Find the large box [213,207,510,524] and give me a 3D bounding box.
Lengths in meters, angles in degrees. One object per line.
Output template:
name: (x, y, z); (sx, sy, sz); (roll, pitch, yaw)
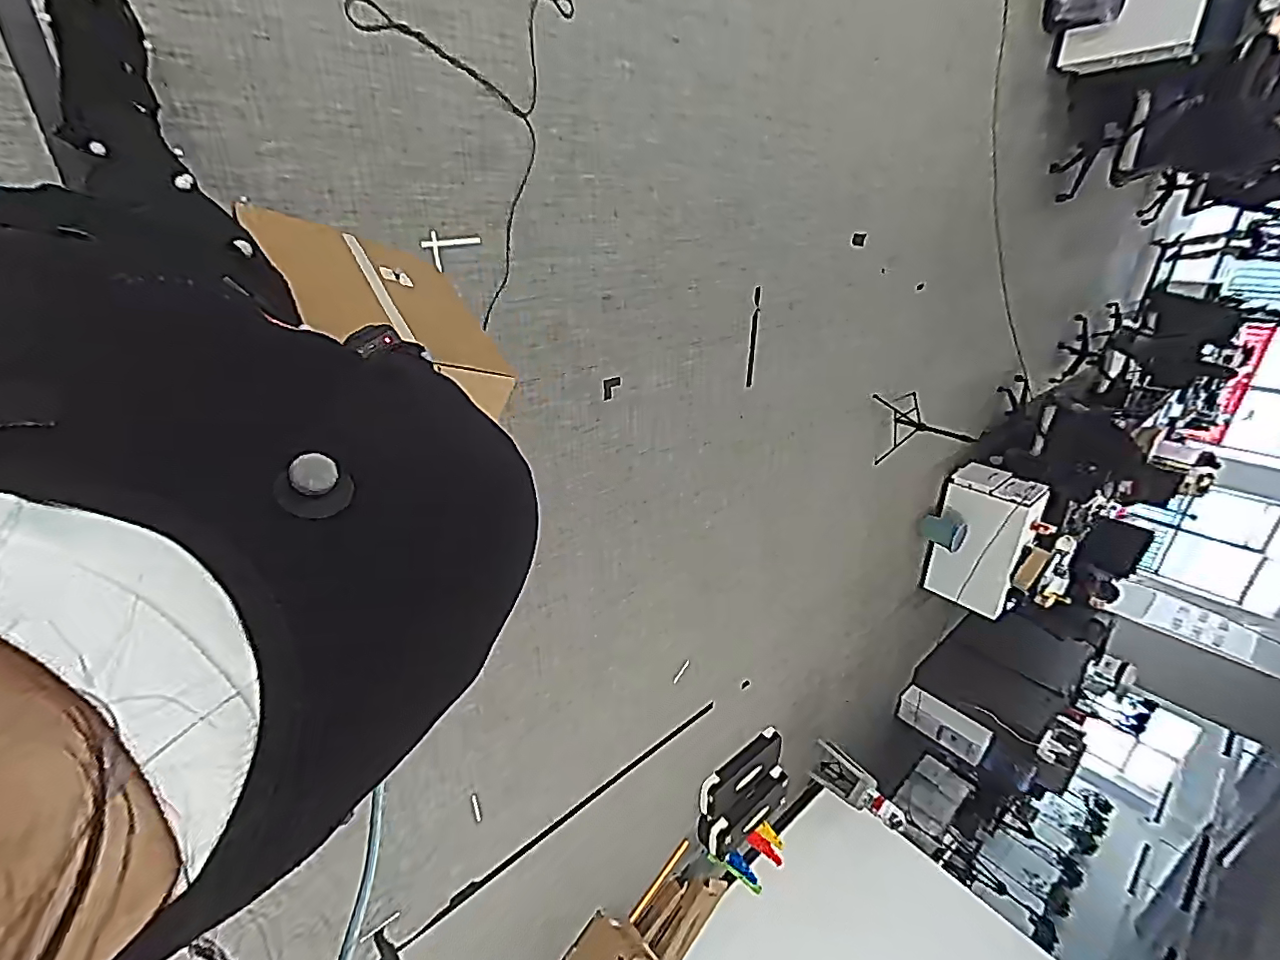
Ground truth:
large box: (-0.480, -0.178, 0.899); (0.320, 0.408, 0.320); (1, 129, -46)
